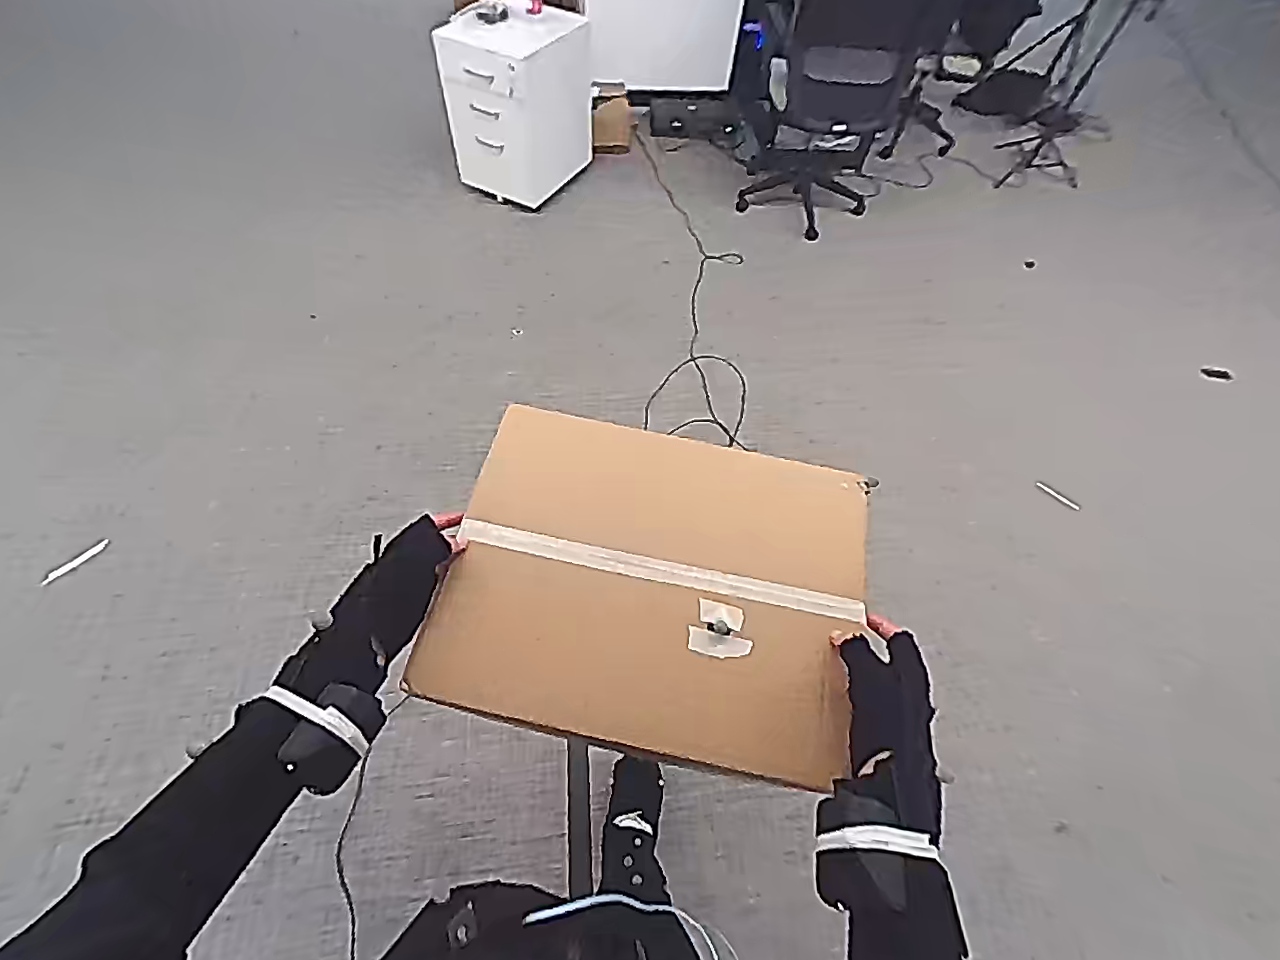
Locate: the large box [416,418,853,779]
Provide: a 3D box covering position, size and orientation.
[{"bbox_3d":[0.007,0.163,0.679,0.408,0.320,0.320,12,63,2],"label":"large box"}]
